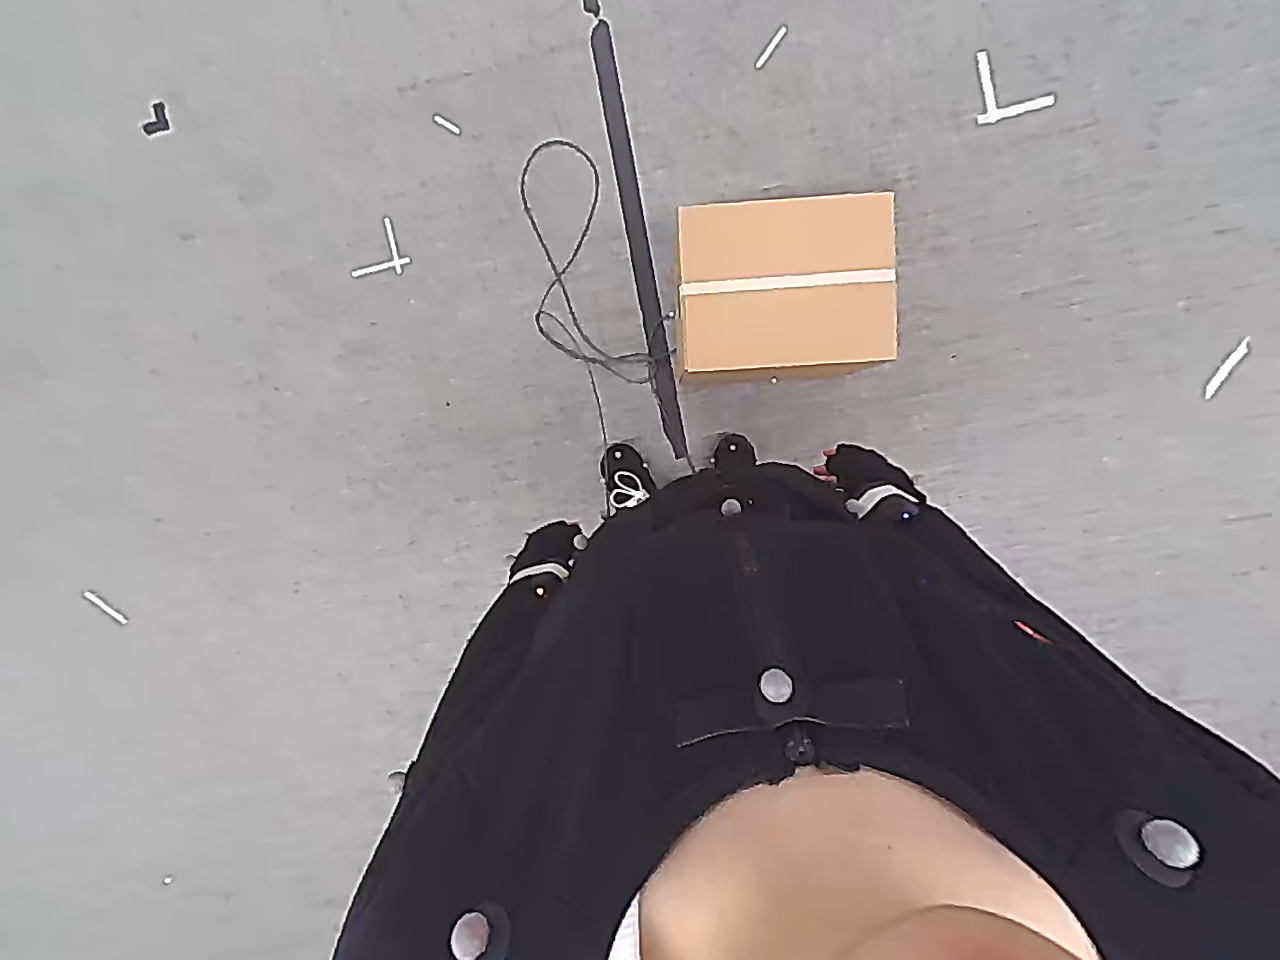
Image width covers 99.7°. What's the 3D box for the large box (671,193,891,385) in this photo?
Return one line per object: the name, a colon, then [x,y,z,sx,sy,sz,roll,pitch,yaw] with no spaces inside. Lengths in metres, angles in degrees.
large box: [0.281,-0.390,1.186,0.408,0.320,0.320,-3,95,2]
